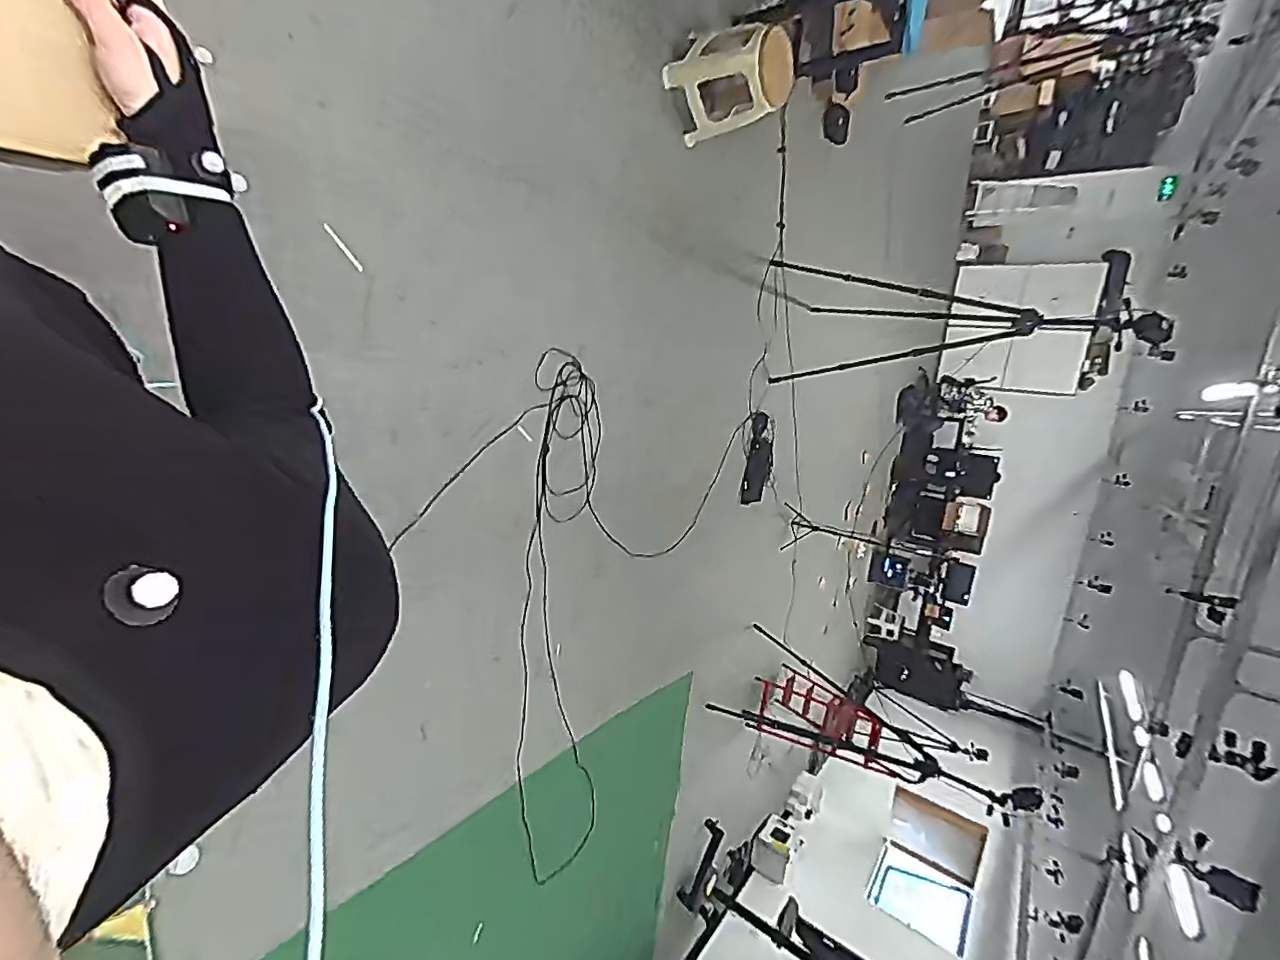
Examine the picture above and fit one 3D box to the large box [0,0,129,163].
[{"bbox_3d":[-0.651,-0.420,0.337,0.408,0.320,0.320,-17,122,-50],"label":"large box"}]
